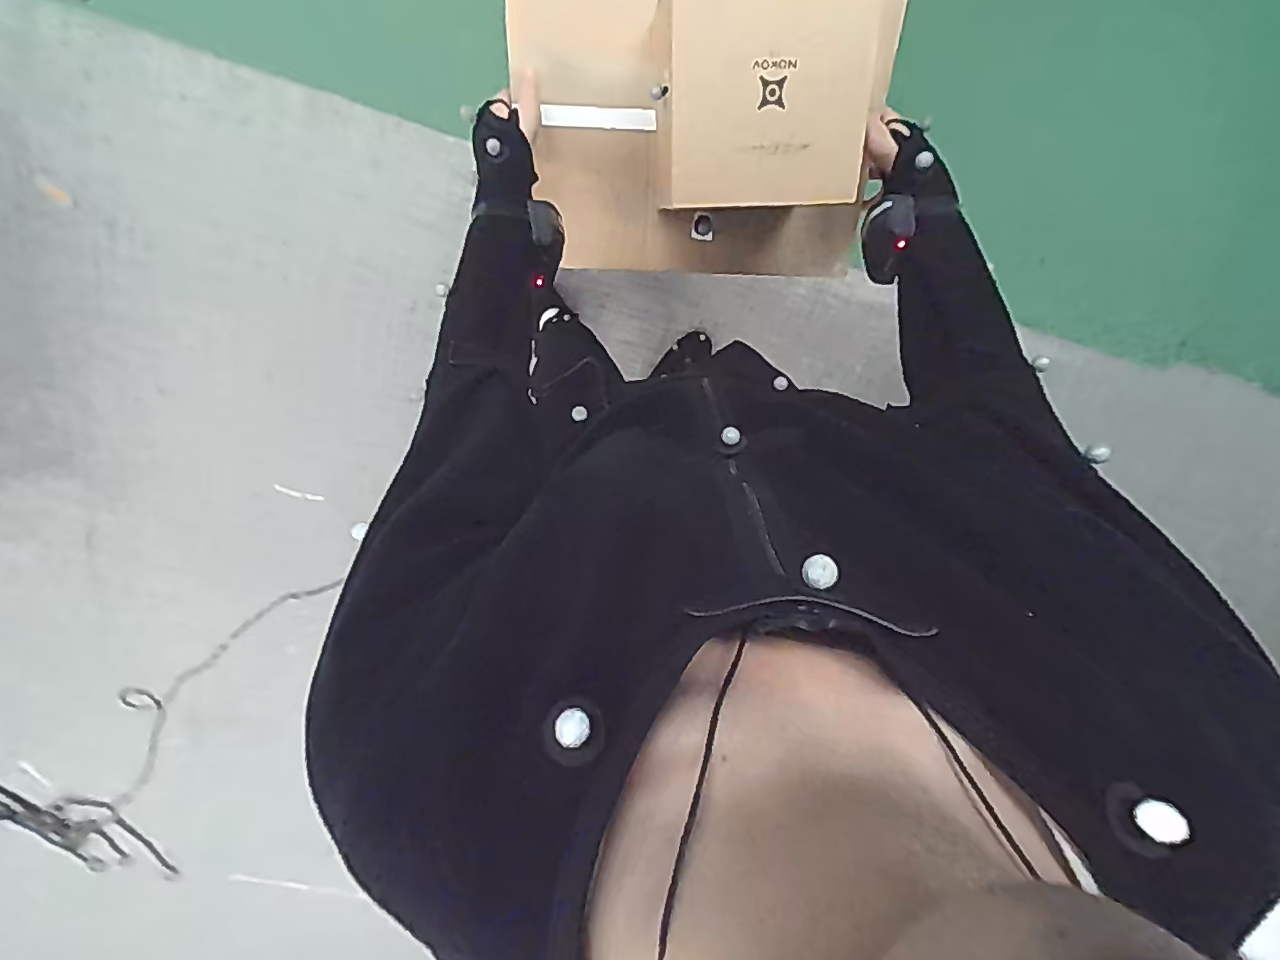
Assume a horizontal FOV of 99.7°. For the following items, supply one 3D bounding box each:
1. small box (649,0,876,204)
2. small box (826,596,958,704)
[{"bbox_3d":[0.096,-0.359,0.504,0.168,0.176,0.179,-3,117,-2],"label":"small box"},{"bbox_3d":[0.524,0.366,1.132,0.179,0.176,0.168,16,105,-6],"label":"small box"}]
